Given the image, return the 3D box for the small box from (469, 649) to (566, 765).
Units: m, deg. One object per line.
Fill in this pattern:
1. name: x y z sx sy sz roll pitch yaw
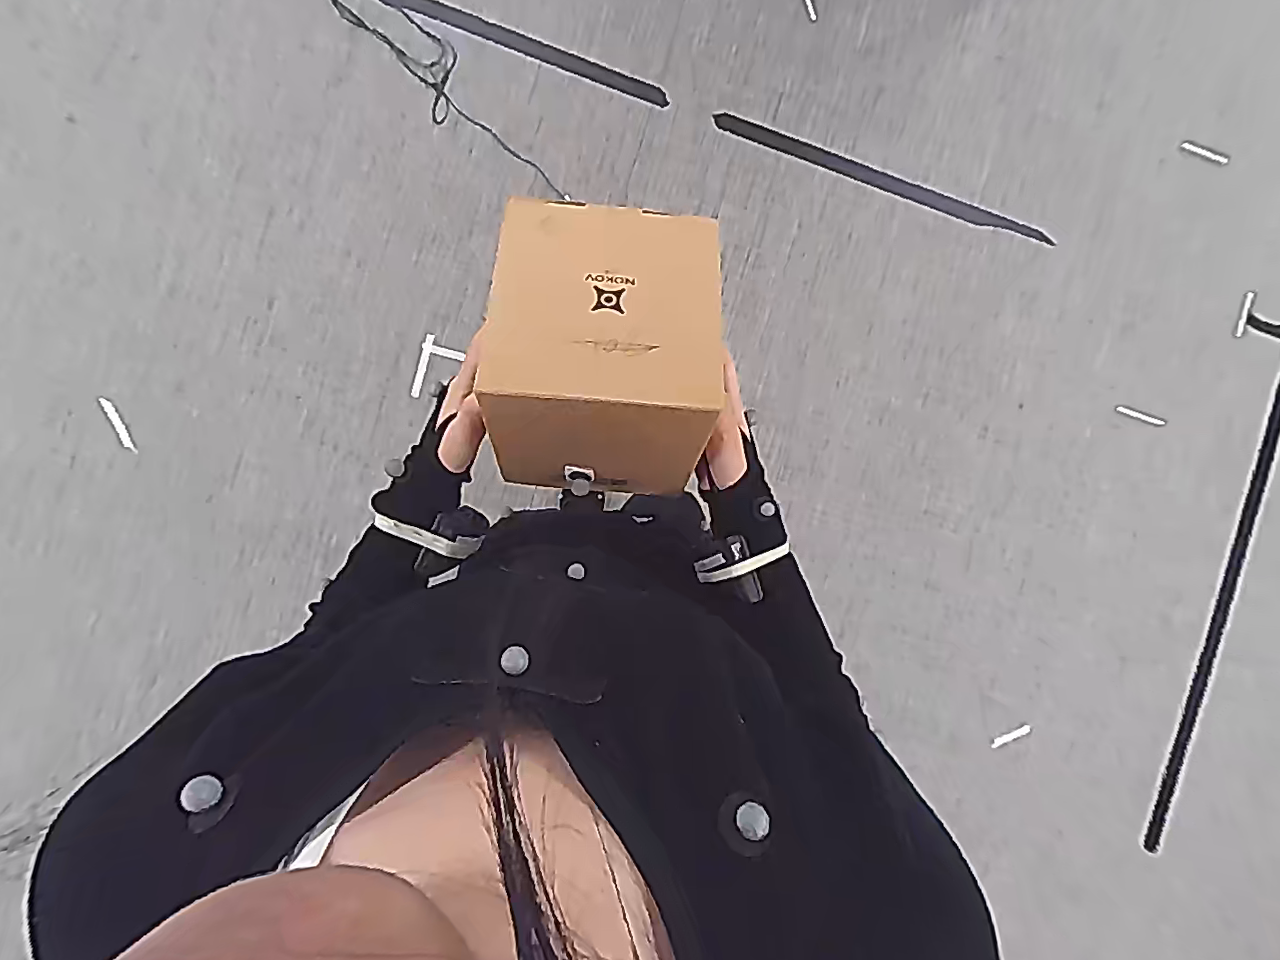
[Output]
1. small box: -0.271 0.509 1.238 0.168 0.176 0.179 17 90 -4

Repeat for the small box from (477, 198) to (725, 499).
1. small box: -0.030 -0.099 0.458 0.168 0.176 0.179 3 68 -5
